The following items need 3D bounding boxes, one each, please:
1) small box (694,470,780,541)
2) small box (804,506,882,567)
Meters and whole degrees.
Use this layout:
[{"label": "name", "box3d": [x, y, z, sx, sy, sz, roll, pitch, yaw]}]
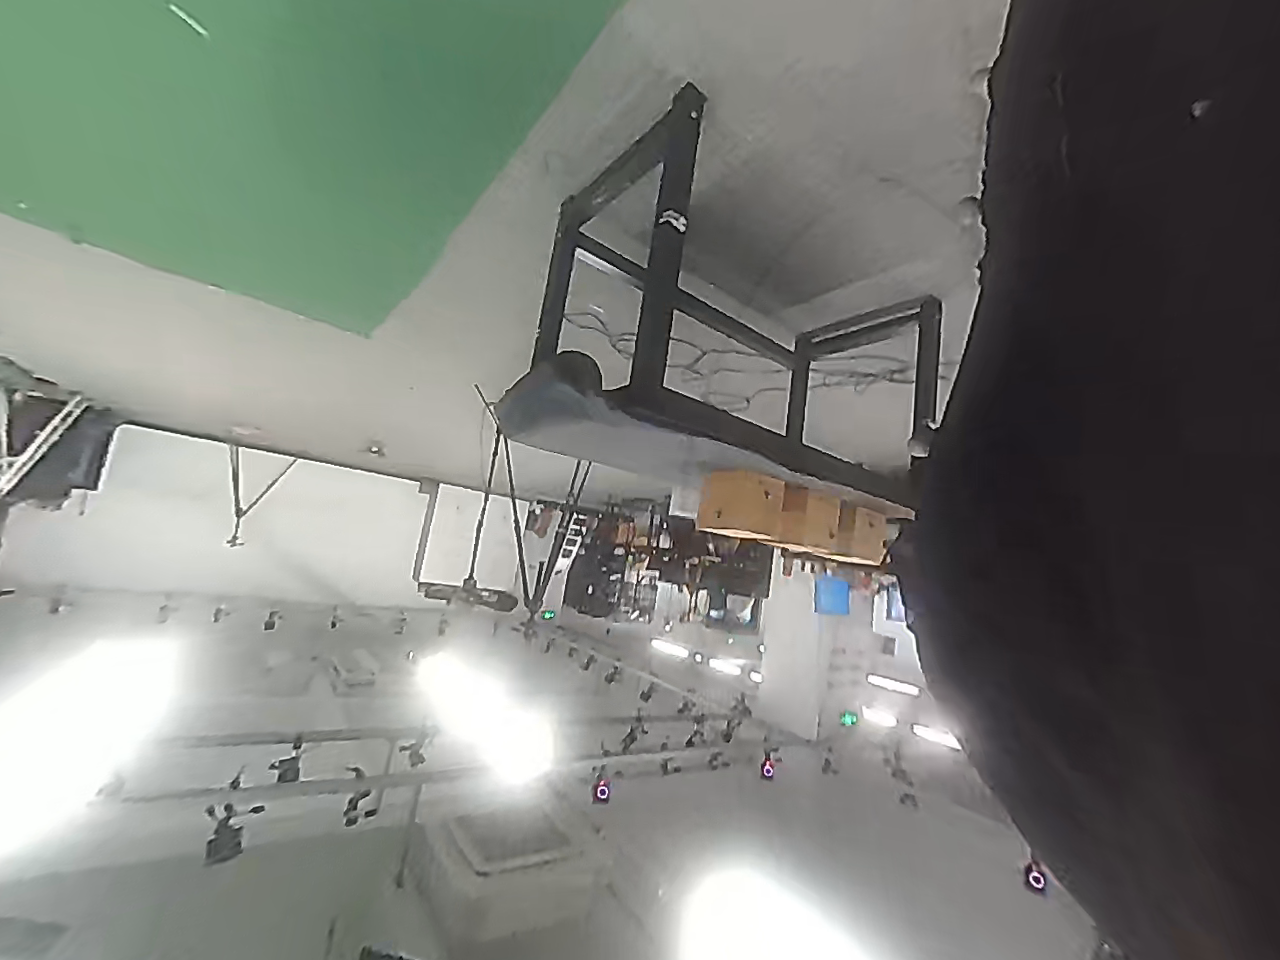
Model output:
[{"label": "small box", "box3d": [0.281, 0.074, 1.545, 0.168, 0.176, 0.179, 15, 168, -34]}, {"label": "small box", "box3d": [0.680, 0.184, 1.803, 0.168, 0.176, 0.179, 16, 169, -33]}]
